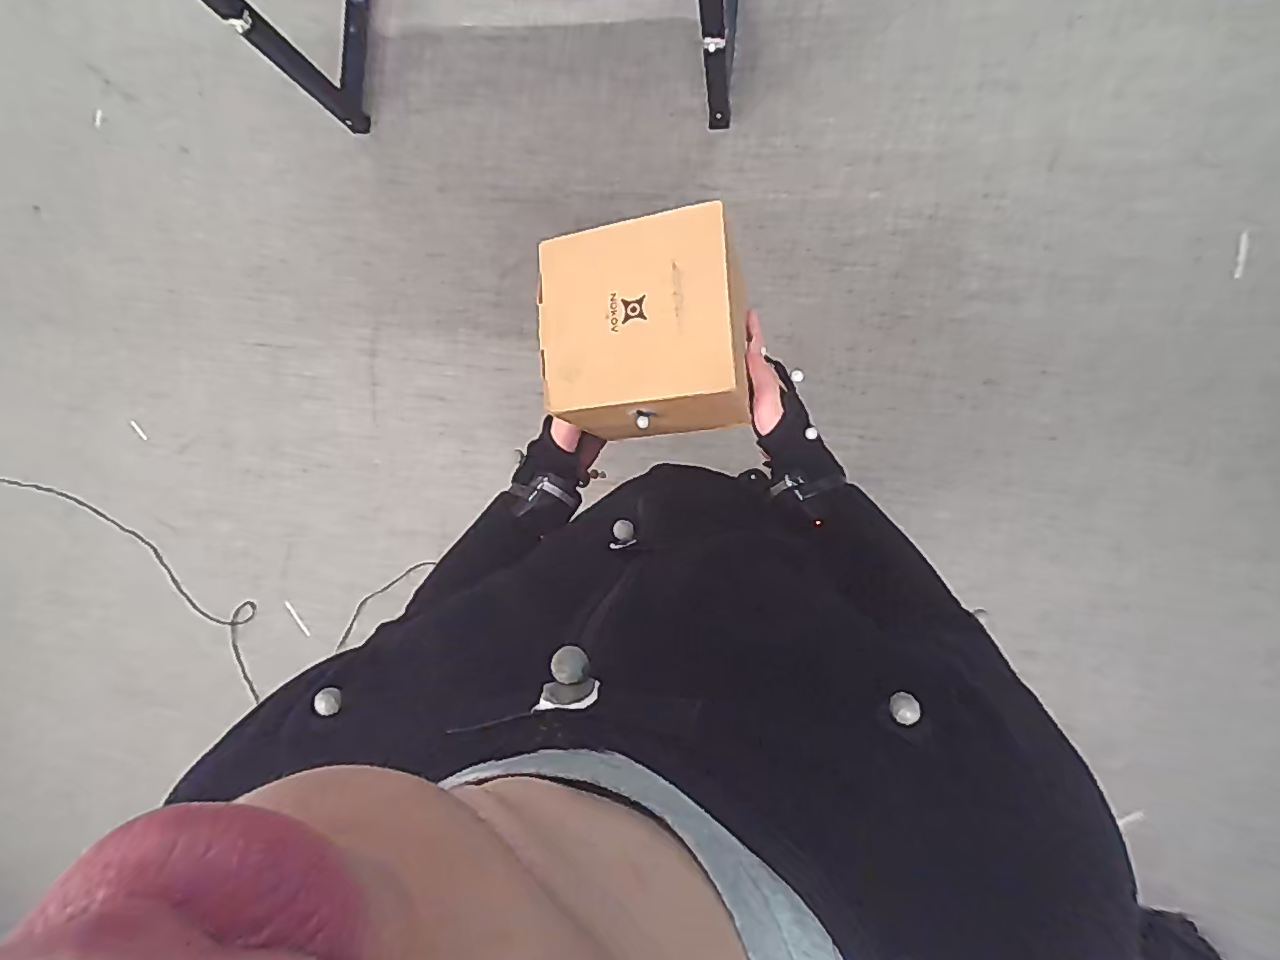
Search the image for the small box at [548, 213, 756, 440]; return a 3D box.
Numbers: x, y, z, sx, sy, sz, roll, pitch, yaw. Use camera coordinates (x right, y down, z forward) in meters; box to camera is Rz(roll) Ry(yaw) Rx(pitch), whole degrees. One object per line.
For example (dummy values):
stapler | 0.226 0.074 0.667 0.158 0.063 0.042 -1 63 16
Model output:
small box | 0.020 -0.139 0.562 0.179 0.176 0.168 -5 85 16
